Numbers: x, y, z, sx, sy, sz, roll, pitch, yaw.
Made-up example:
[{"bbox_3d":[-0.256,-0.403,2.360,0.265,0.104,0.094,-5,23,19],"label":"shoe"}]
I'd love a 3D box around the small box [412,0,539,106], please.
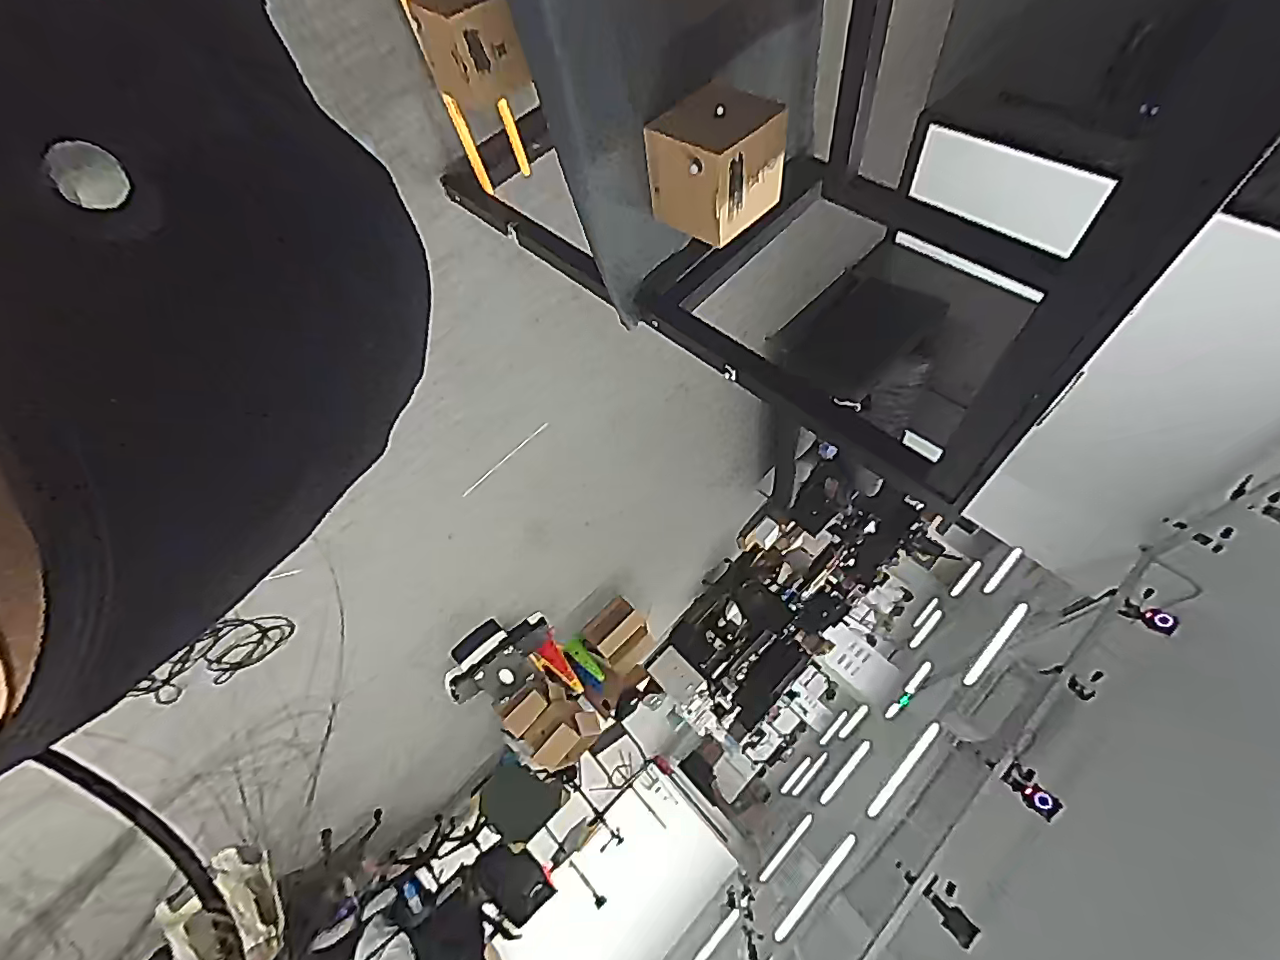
[{"bbox_3d":[-0.348,-0.930,1.133,0.179,0.176,0.168,-42,154,-17],"label":"small box"}]
